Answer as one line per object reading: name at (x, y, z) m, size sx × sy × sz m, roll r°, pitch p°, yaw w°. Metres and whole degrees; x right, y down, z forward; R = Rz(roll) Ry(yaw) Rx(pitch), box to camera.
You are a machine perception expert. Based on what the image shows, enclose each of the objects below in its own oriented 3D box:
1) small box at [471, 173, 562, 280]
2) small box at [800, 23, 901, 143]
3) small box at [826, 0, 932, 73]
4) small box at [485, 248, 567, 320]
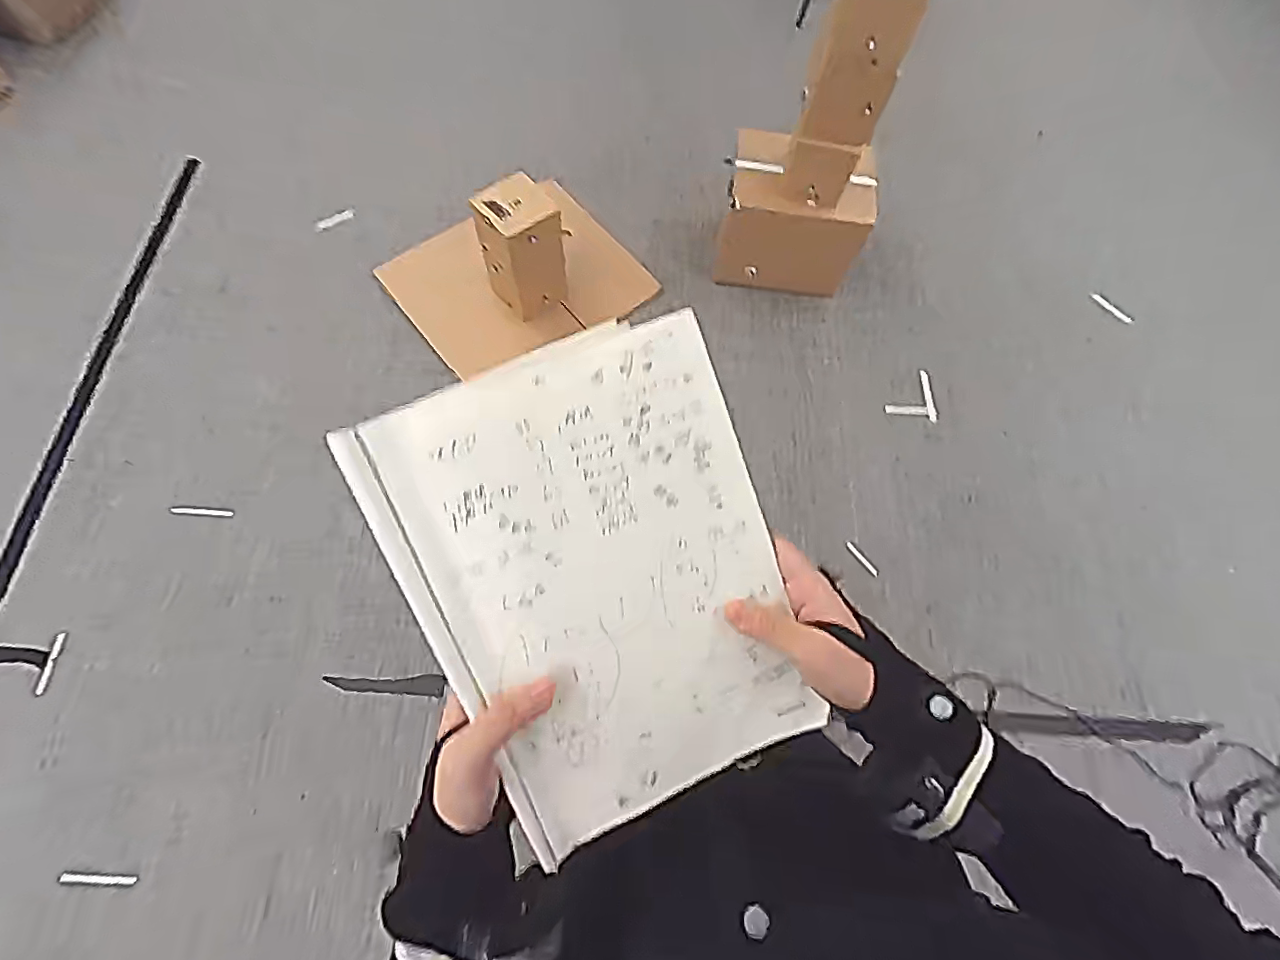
small box at (-0.326, -0.682, 1.471) m, size 0.179 × 0.176 × 0.168 m, roll -38°, pitch 77°, yaw -18°
small box at (0.500, -0.949, 1.303) m, size 0.179 × 0.176 × 0.168 m, roll 6°, pitch 68°, yaw 0°
small box at (0.508, -1.020, 1.154) m, size 0.168 × 0.176 × 0.179 m, roll 8°, pitch 68°, yaw 0°
small box at (-0.337, -0.623, 1.625) m, size 0.179 × 0.176 × 0.168 m, roll -39°, pitch 77°, yaw -18°
